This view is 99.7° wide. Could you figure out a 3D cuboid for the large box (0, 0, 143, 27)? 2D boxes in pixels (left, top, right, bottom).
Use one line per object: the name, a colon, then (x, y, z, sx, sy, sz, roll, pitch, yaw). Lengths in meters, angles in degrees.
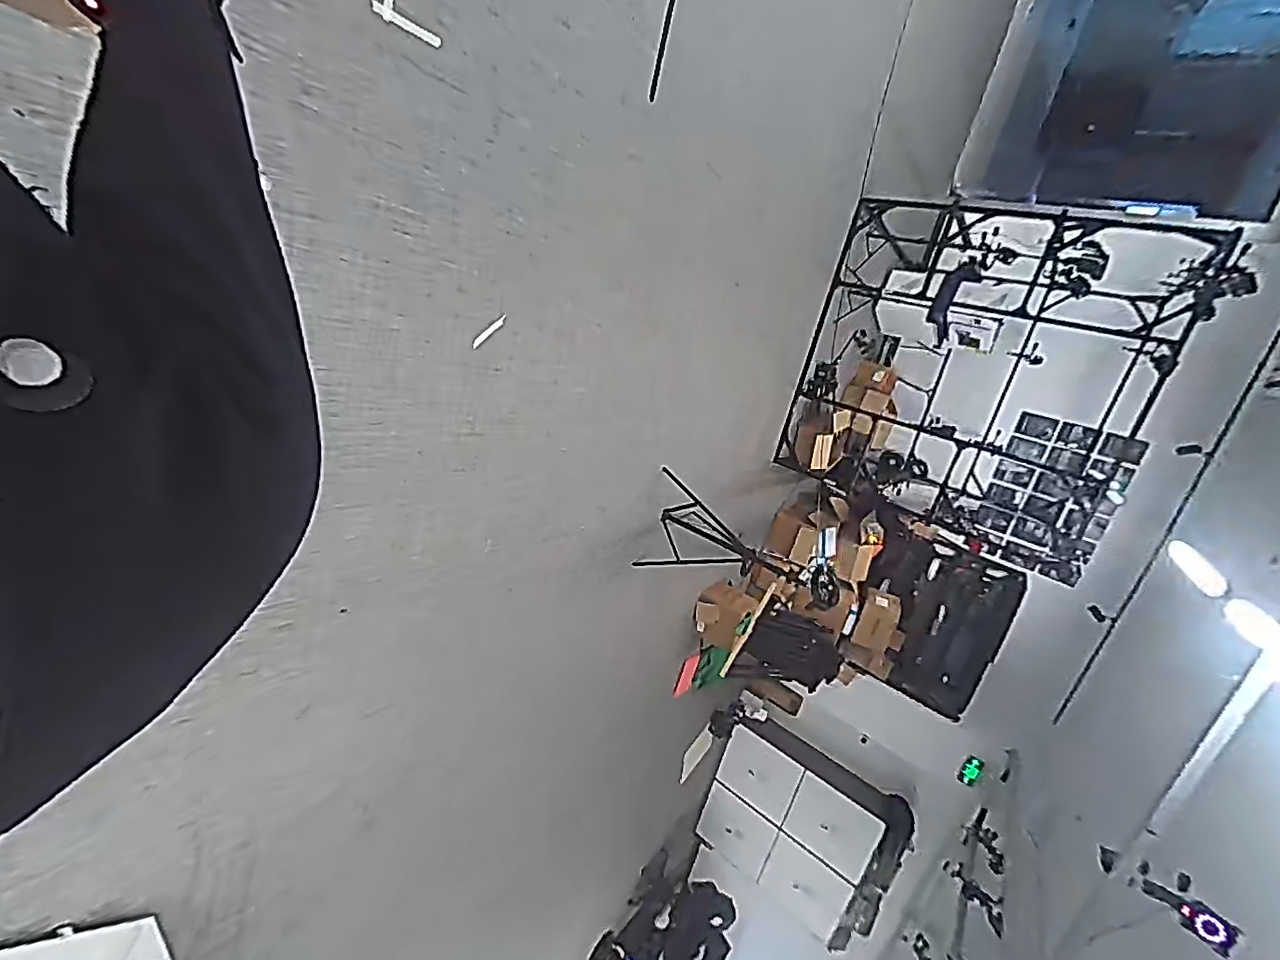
large box: (-0.593, -0.569, 0.322, 0.408, 0.320, 0.320, -2, 118, -56)
